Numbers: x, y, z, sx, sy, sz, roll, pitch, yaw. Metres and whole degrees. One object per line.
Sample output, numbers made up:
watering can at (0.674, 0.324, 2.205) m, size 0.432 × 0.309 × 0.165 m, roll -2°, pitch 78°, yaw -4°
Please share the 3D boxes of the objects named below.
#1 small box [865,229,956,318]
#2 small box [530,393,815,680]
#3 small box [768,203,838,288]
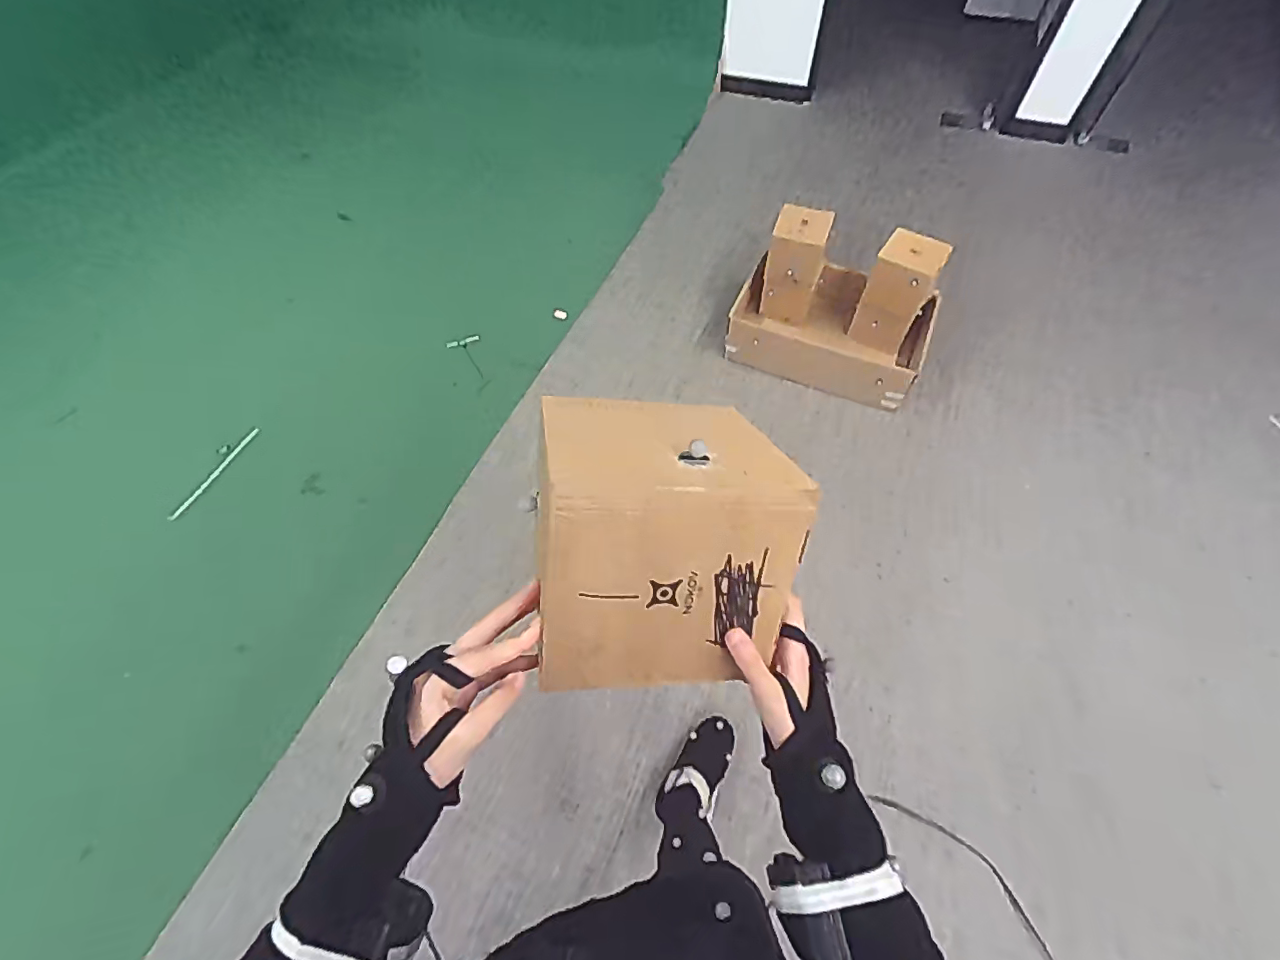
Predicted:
small box at (0.827, -0.633, 1.669) m, size 0.179 × 0.176 × 0.168 m, roll 32°, pitch 67°, yaw 19°
small box at (0.006, 0.035, 0.437) m, size 0.179 × 0.168 × 0.176 m, roll 2°, pitch 26°, yaw -13°
small box at (0.524, -0.757, 1.753) m, size 0.168 × 0.176 × 0.179 m, roll 18°, pitch 63°, yaw 14°
